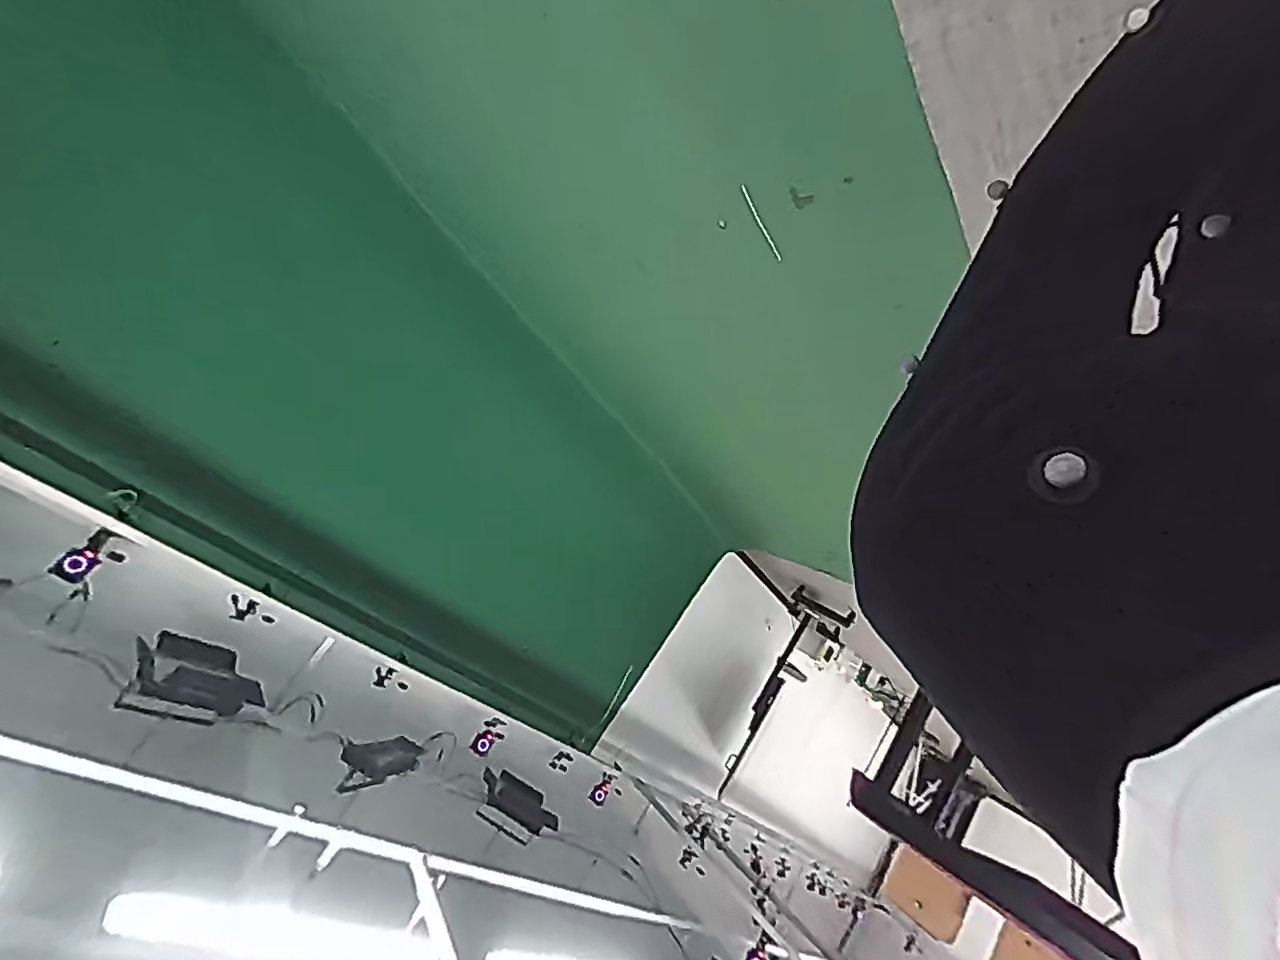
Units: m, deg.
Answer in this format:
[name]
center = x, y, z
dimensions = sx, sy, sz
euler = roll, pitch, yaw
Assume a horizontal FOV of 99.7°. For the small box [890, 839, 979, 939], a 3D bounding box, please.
[small box]
center = 0.905, 1.244, 1.650
dimensions = 0.168, 0.176, 0.179
euler = 44, 164, -34
